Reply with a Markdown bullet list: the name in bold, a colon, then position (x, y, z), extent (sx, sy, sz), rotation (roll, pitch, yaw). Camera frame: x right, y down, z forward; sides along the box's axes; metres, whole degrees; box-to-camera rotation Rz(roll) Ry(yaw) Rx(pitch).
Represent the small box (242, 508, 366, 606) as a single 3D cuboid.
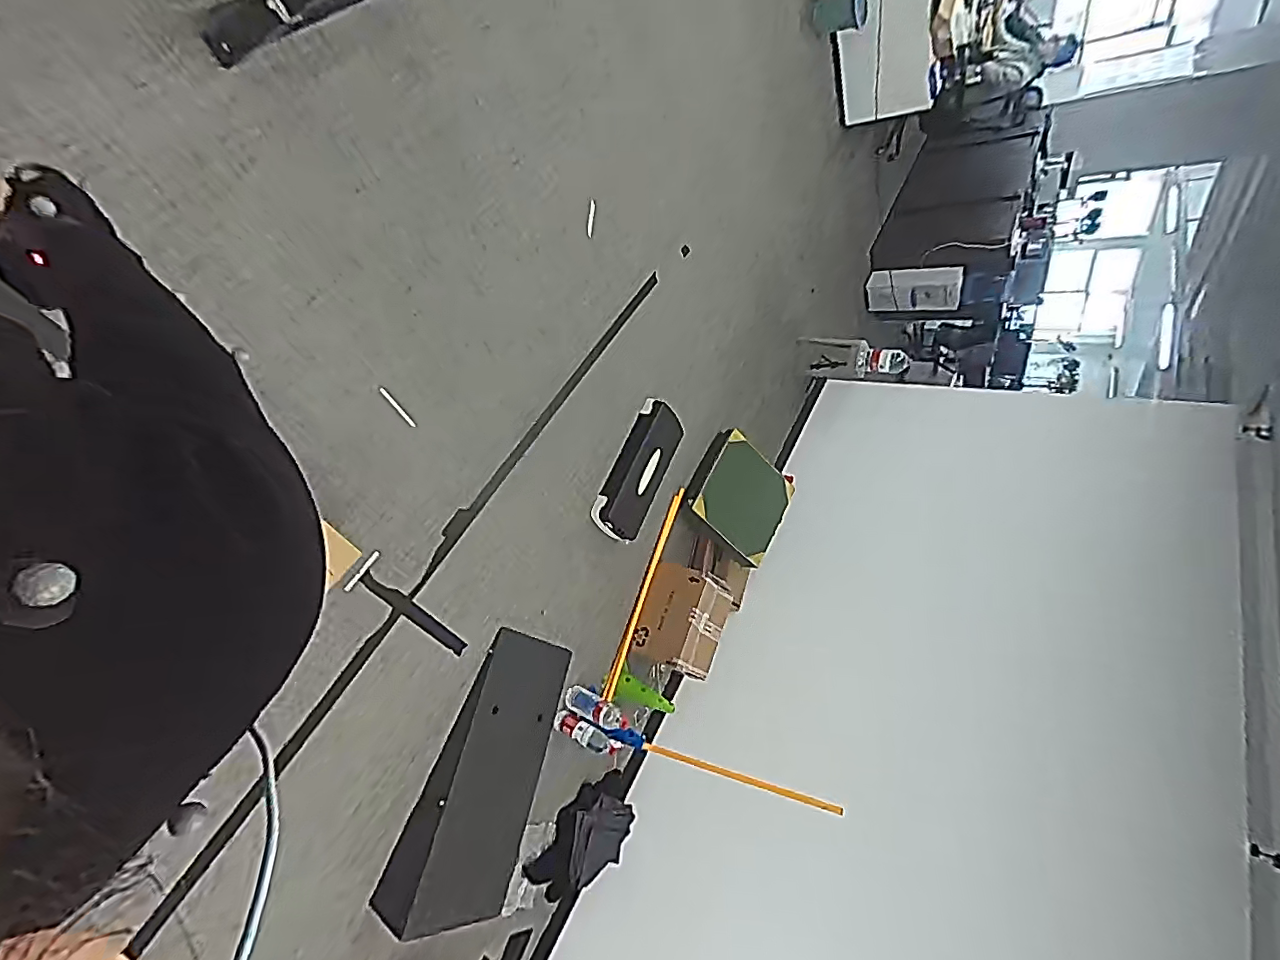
- **small box**: position (-0.847, 0.187, 1.364), extent (0.168, 0.176, 0.179), rotation (-56, 140, -28)
